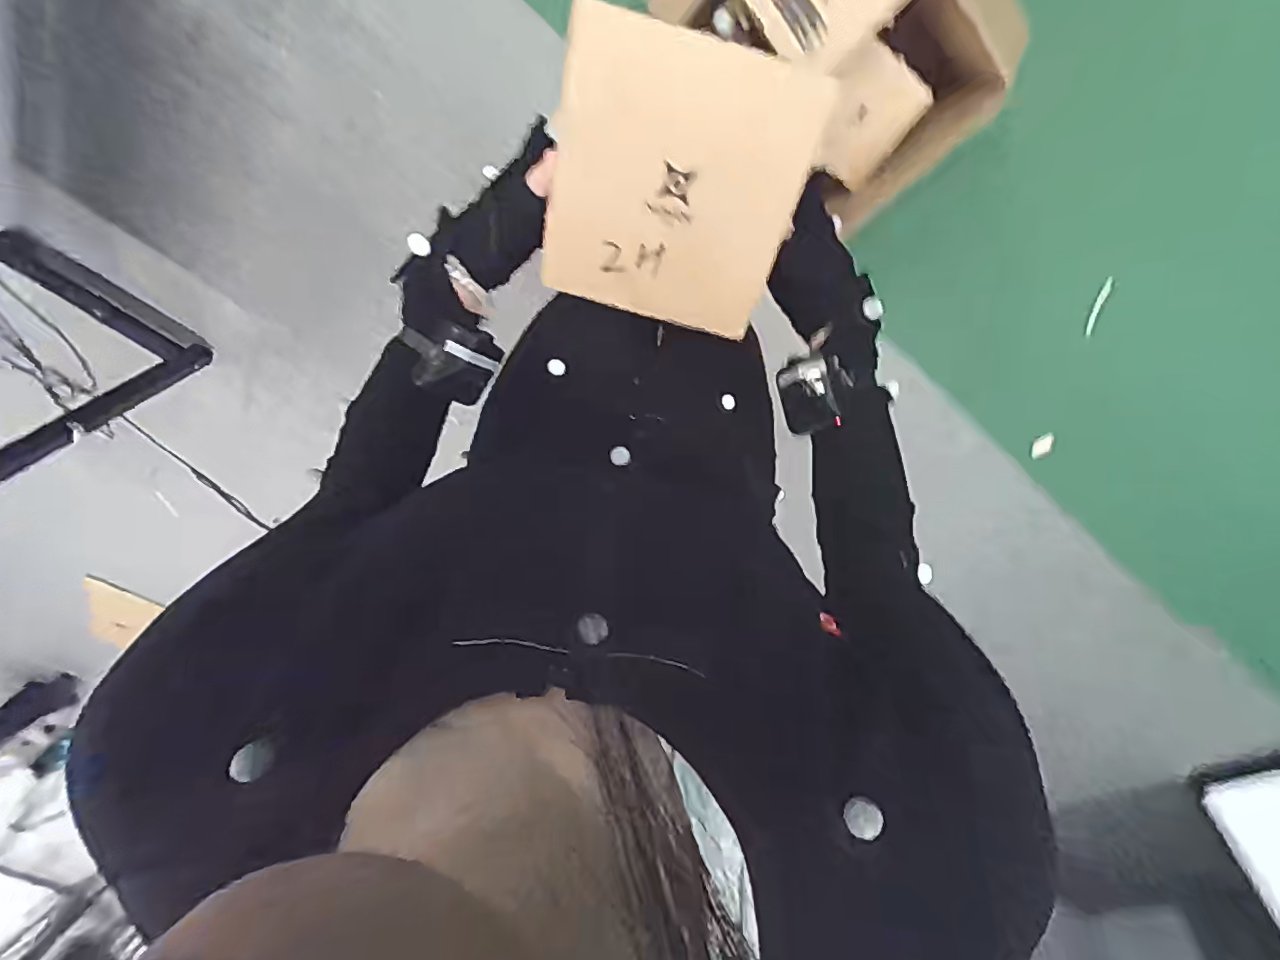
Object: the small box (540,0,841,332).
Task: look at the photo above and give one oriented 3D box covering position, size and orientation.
[{"bbox_3d":[0.029,-0.251,0.431,0.168,0.176,0.179,14,130,-5],"label":"small box"}]
